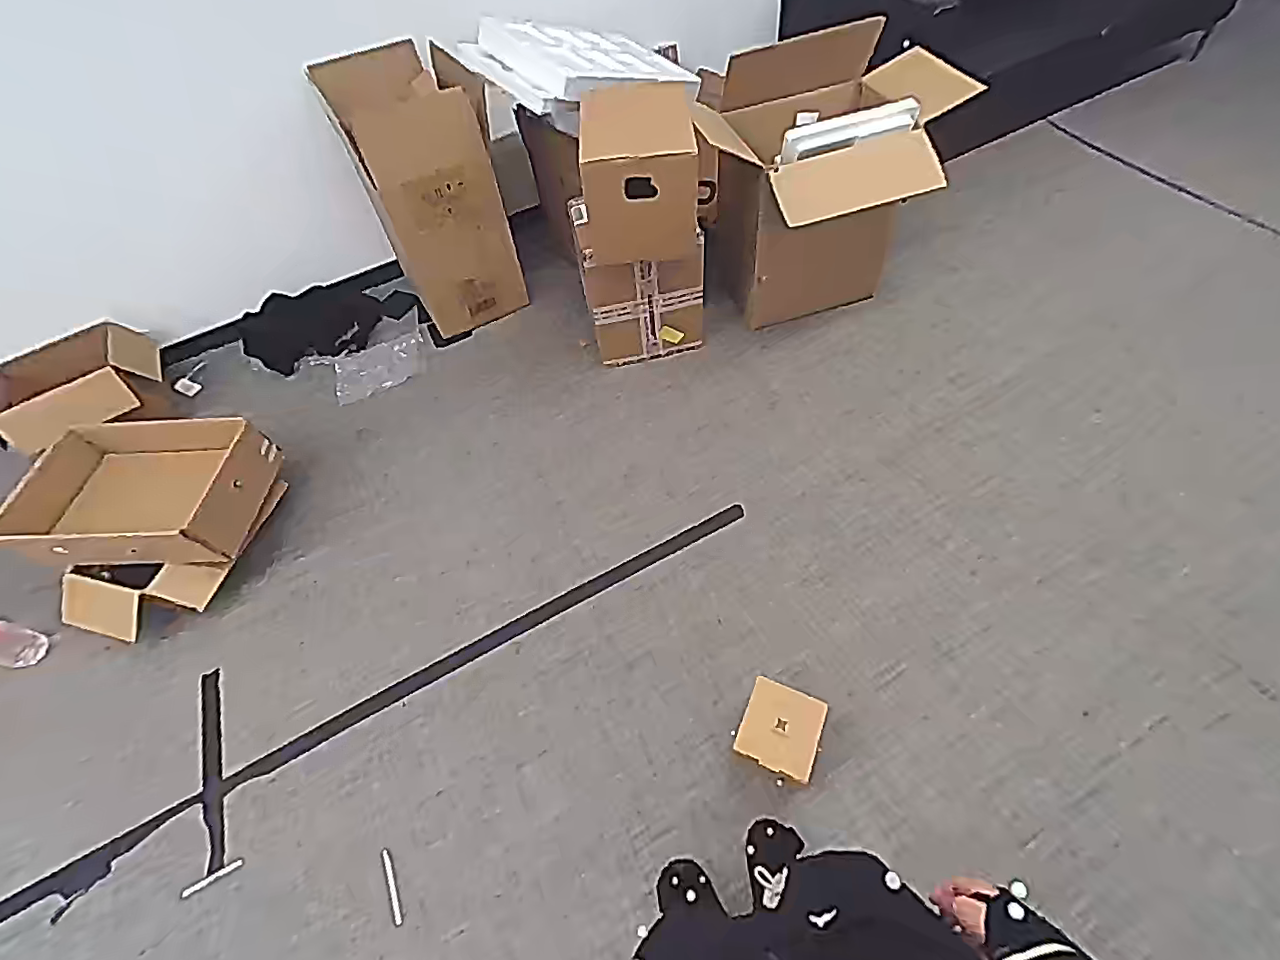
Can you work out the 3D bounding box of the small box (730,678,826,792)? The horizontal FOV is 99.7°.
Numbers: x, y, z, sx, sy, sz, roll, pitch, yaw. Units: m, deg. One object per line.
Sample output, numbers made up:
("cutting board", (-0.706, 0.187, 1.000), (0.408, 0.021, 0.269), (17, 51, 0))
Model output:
("small box", (0.313, 0.593, 1.249), (0.168, 0.176, 0.179), (19, 59, 17))
